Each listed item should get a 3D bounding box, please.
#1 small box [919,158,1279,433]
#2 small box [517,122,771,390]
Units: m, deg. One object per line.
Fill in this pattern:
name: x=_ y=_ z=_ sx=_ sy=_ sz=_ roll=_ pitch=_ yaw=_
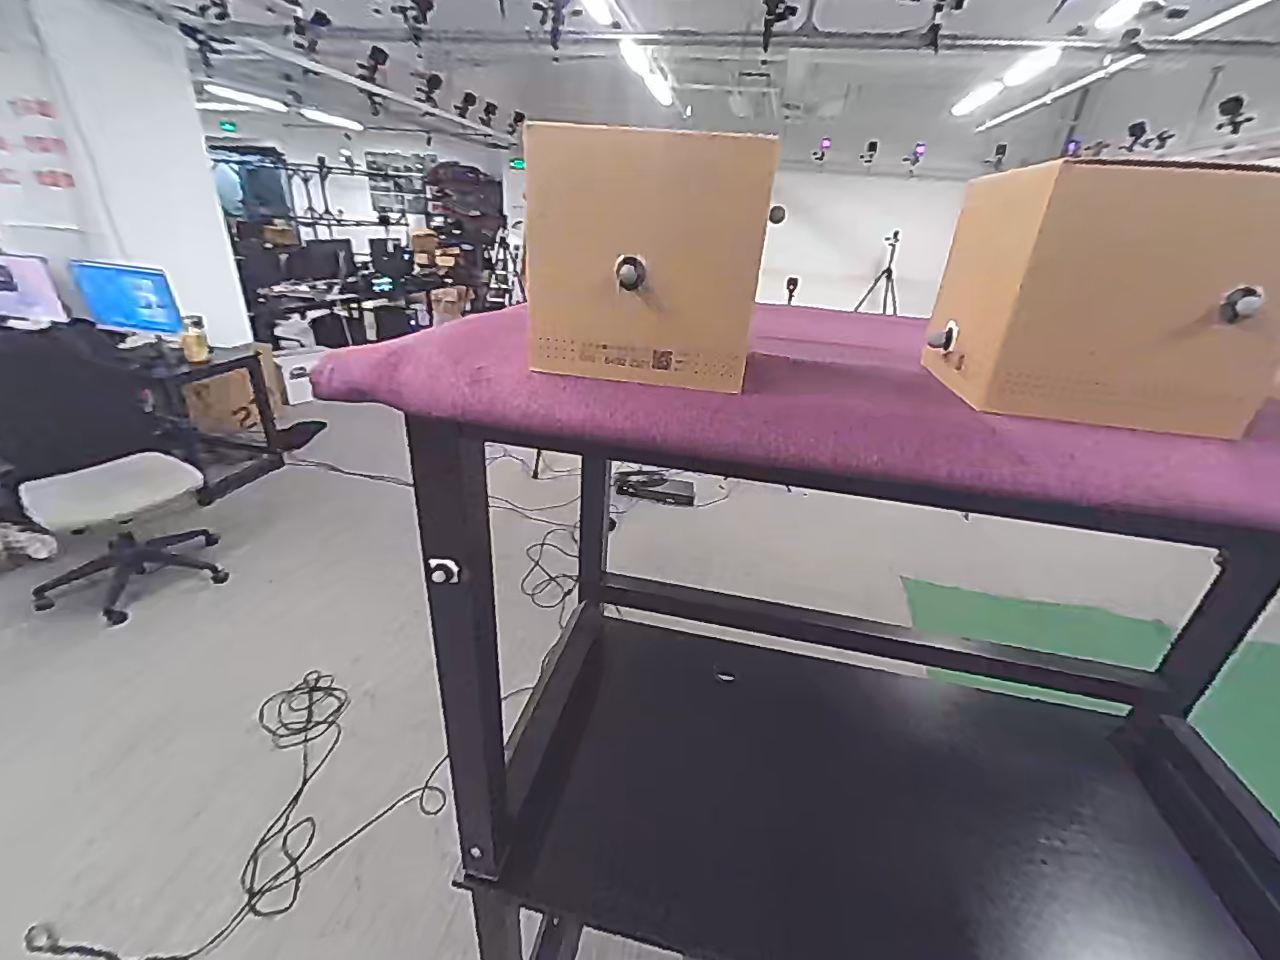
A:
small box: x=0.350 y=-0.144 z=0.424 sx=0.179 sy=0.176 sz=0.168 roll=6 pitch=26 yaw=8
small box: x=0.010 y=-0.182 z=0.447 sx=0.168 sy=0.176 sz=0.179 roll=8 pitch=27 yaw=7
